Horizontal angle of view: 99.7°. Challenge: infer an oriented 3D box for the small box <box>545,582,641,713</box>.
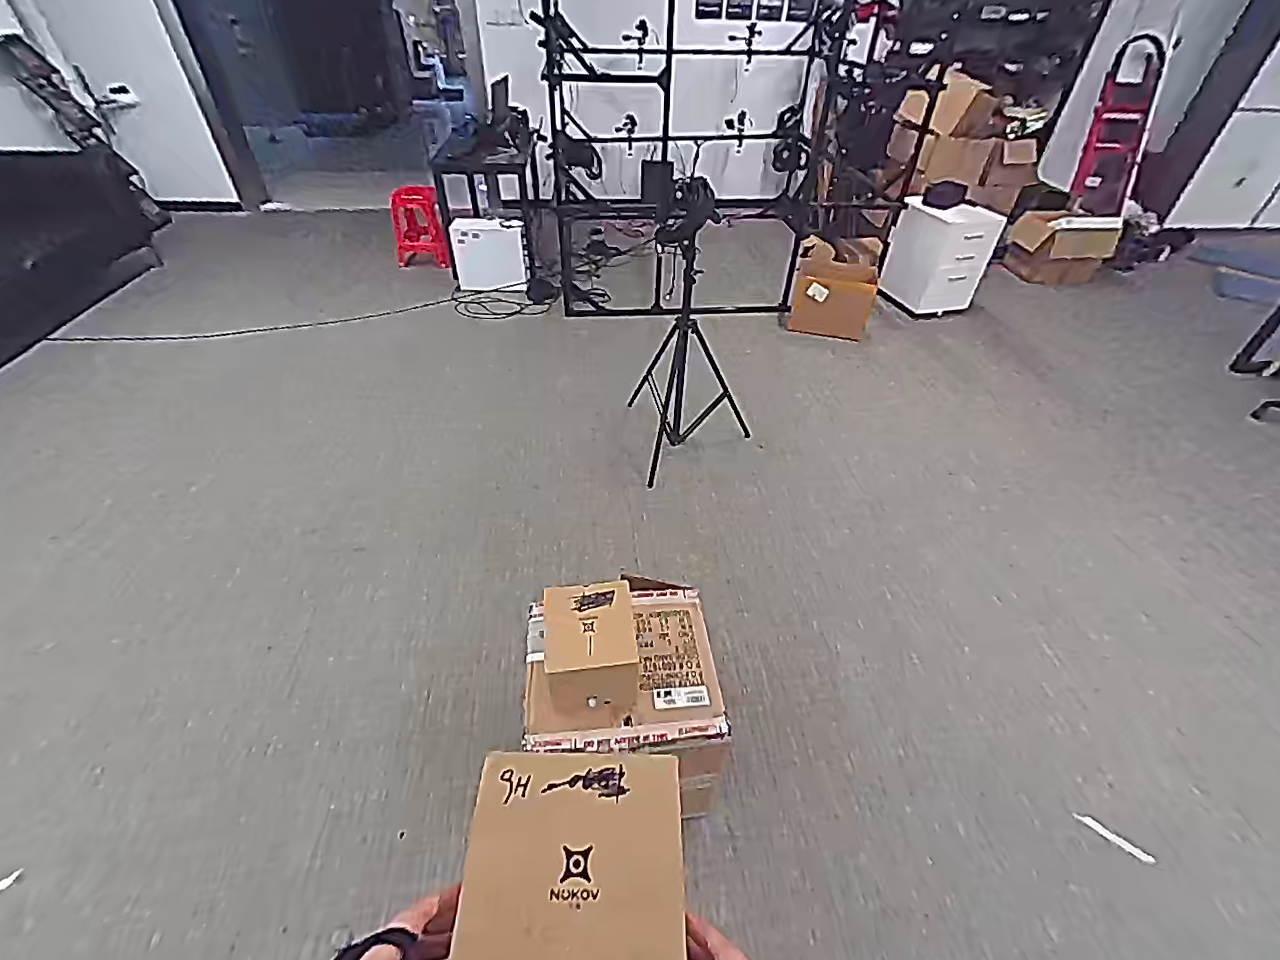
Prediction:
[{"bbox_3d":[-0.092,0.320,1.035,0.168,0.176,0.179,-5,46,-6],"label":"small box"}]
